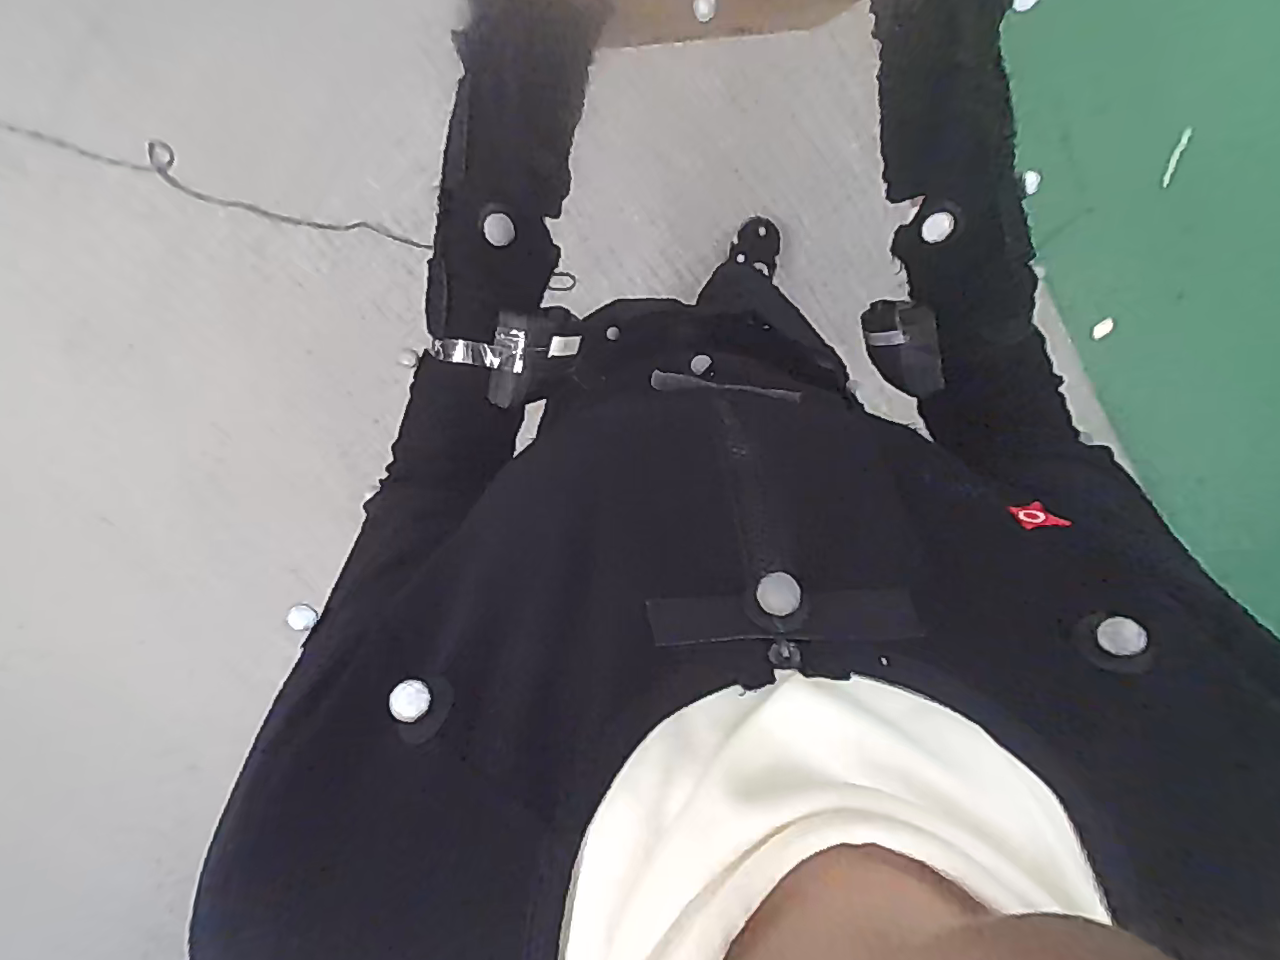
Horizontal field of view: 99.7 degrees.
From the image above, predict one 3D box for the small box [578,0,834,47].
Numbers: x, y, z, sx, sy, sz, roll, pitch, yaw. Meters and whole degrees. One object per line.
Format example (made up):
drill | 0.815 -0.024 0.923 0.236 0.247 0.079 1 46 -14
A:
small box | 0.035 -0.348 0.267 0.168 0.176 0.179 -5 119 2
